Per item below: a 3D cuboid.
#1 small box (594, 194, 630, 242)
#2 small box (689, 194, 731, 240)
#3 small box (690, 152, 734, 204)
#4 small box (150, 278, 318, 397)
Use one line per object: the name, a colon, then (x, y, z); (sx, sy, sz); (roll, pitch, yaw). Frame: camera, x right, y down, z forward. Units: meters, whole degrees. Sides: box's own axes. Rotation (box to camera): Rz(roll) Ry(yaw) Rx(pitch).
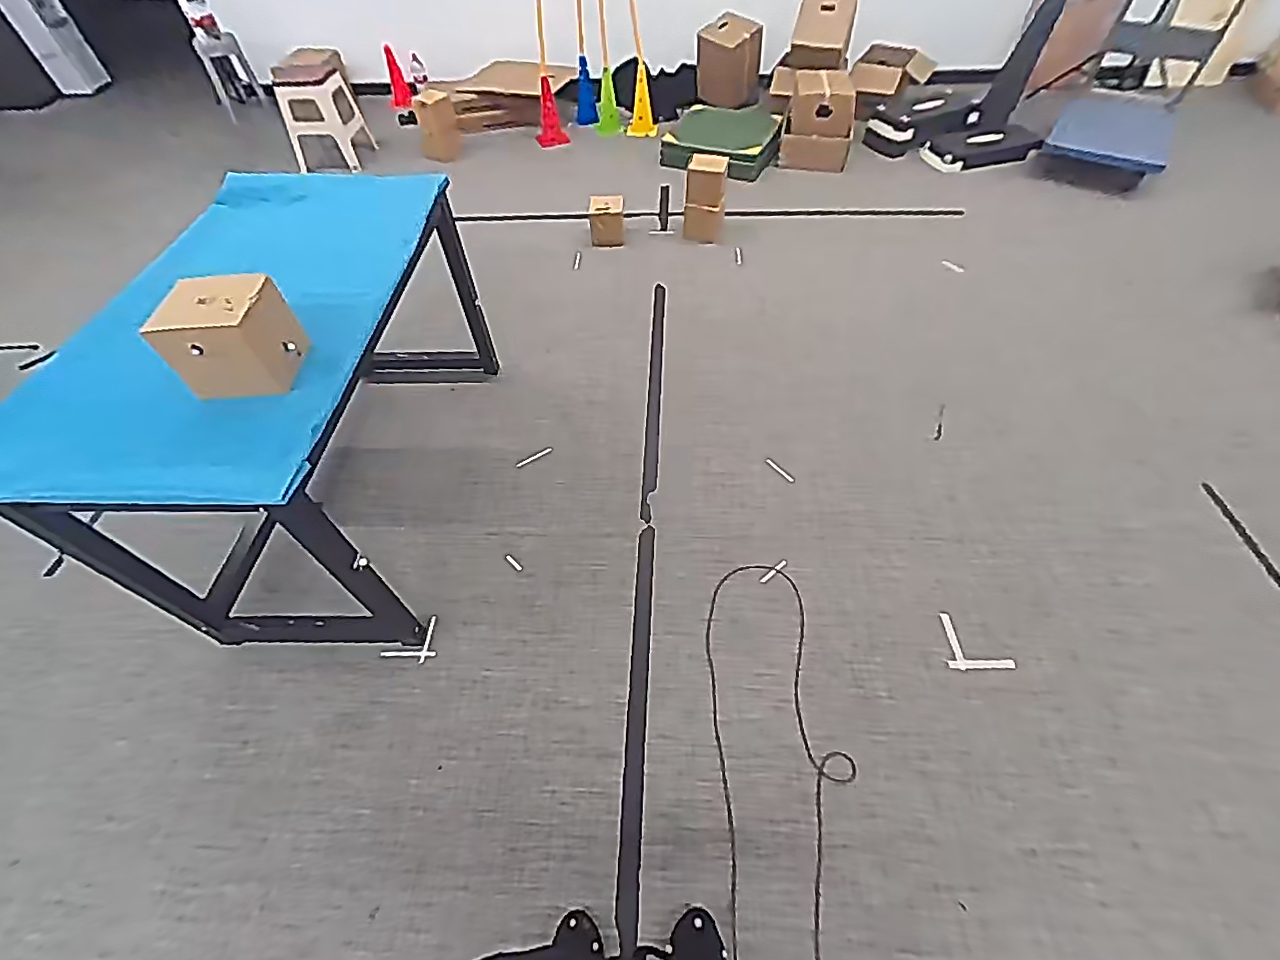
small box: (-0.139, -1.328, 2.752); (0.168, 0.176, 0.179); (0, 52, 2)
small box: (0.354, -1.349, 2.751); (0.179, 0.176, 0.168); (15, 54, 11)
small box: (0.349, -1.471, 2.637); (0.179, 0.176, 0.168); (13, 55, 10)
small box: (-0.787, -0.279, 1.072); (0.179, 0.176, 0.168); (0, 53, 0)
